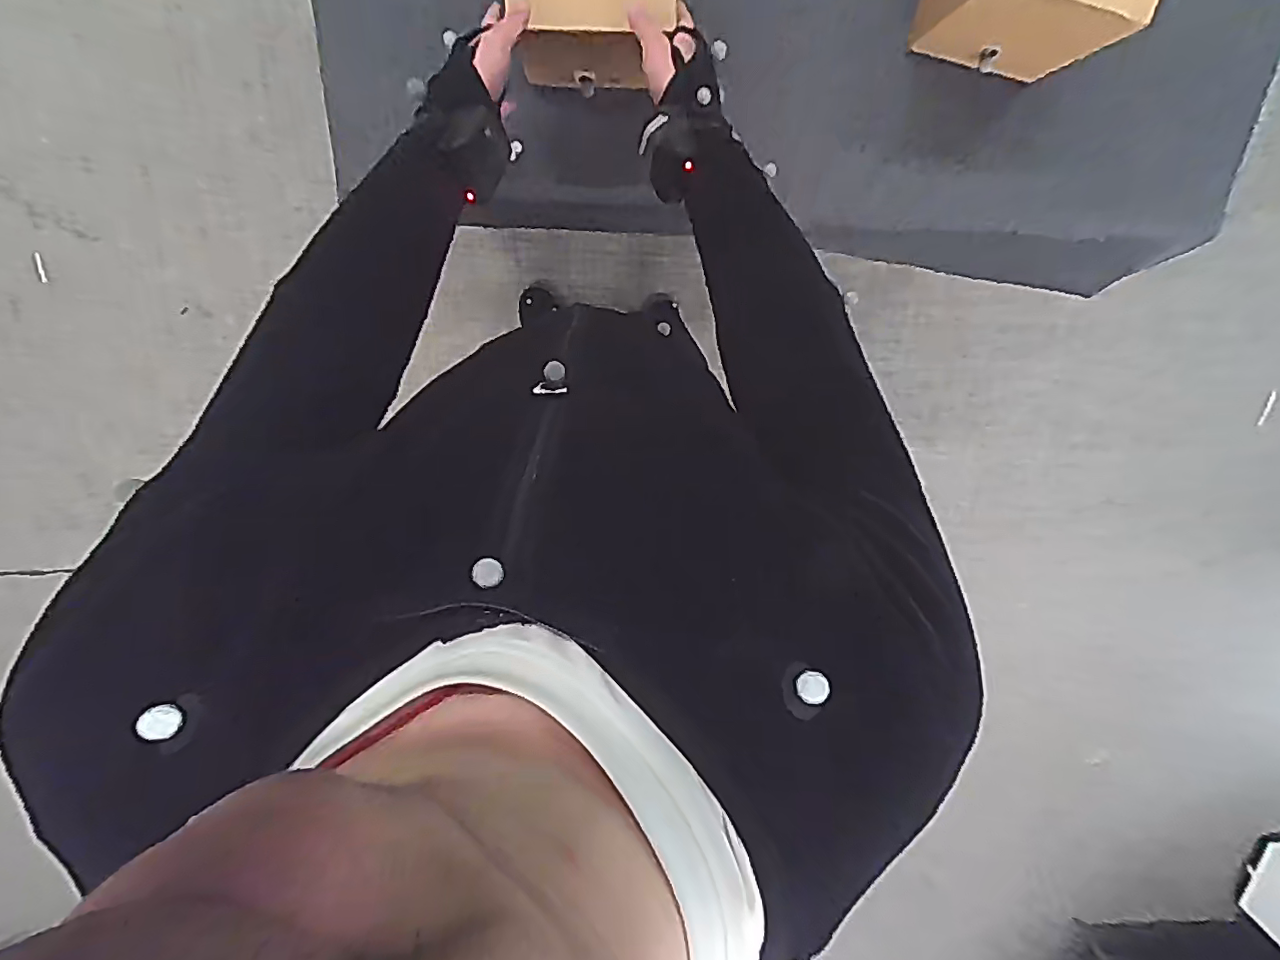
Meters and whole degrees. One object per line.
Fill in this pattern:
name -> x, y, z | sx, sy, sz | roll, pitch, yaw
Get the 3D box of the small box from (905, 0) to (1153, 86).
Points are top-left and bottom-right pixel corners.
small box -> 0.433, -0.562, 0.589 | 0.179, 0.176, 0.168 | 9, 110, -7

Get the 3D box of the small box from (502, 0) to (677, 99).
small box -> -0.047, -0.527, 0.557 | 0.168, 0.176, 0.179 | 1, 110, -2
